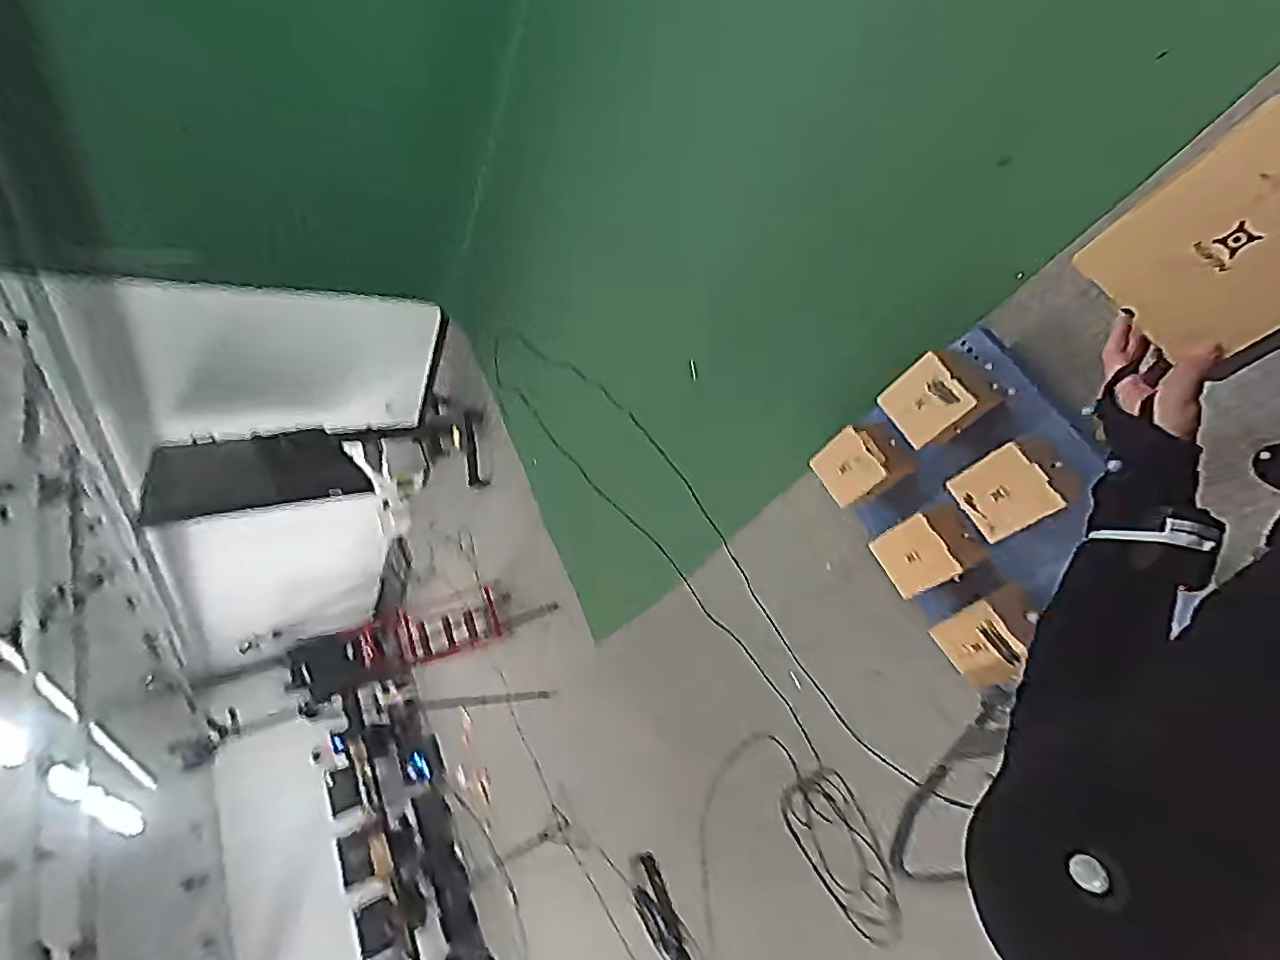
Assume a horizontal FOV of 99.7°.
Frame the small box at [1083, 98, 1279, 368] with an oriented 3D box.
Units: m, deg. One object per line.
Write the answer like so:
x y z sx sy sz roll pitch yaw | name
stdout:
0.593 -0.221 0.519 0.179 0.176 0.168 -46 59 47 | small box

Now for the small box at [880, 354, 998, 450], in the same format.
0.751 -0.197 1.348 0.168 0.176 0.179 62 139 23 | small box

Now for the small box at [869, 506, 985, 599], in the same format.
0.750 0.187 1.412 0.179 0.176 0.168 -50 59 43 | small box

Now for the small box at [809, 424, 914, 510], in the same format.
0.623 -0.039 1.519 0.168 0.176 0.179 61 138 22 | small box

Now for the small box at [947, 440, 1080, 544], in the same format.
0.857 0.022 1.235 0.179 0.176 0.168 -50 59 45 | small box
